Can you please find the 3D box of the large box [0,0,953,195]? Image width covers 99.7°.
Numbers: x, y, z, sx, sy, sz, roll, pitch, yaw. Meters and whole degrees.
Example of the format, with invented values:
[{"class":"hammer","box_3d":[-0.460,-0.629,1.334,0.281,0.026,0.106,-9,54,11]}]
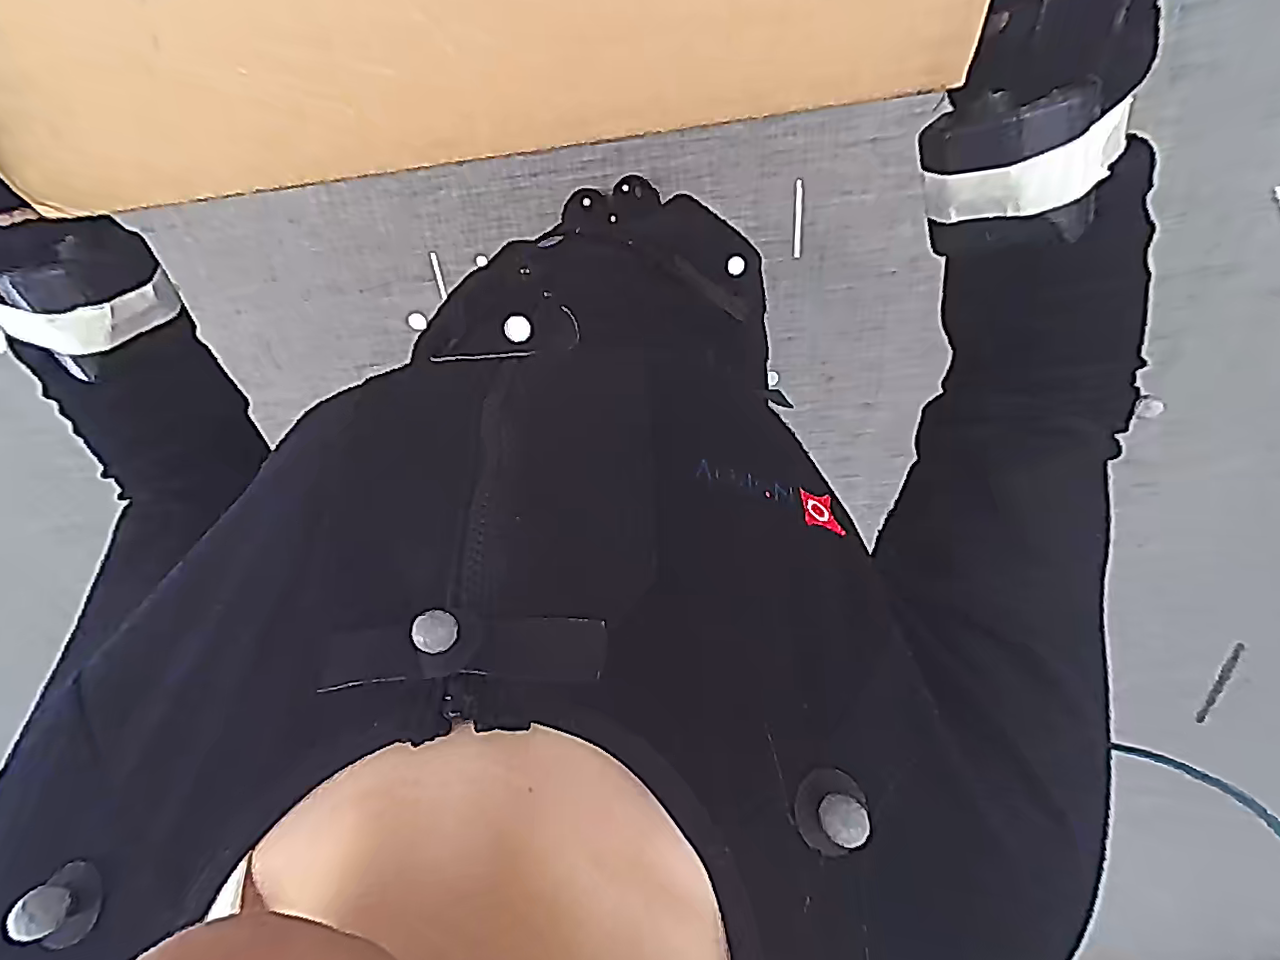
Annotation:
[{"class":"large box","box_3d":[-0.095,-0.363,0.212,0.408,0.320,0.320,-5,140,4]}]
